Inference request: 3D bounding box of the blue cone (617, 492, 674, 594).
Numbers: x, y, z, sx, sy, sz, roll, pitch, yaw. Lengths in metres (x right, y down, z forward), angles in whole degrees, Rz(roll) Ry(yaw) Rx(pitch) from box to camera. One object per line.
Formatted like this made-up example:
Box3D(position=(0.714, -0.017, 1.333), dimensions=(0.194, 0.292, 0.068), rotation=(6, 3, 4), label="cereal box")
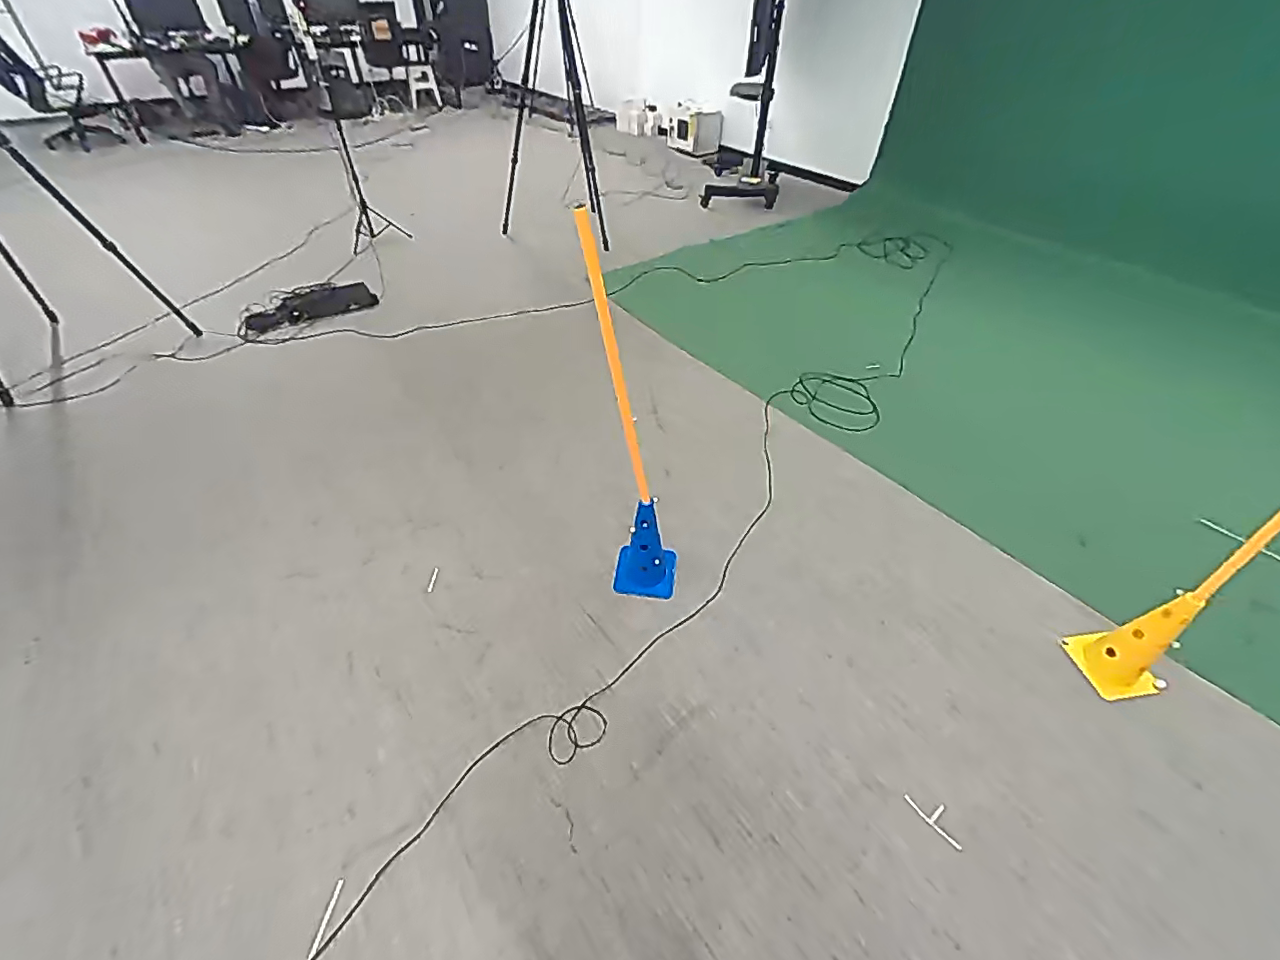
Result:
Box3D(position=(0.017, 0.187, 1.713), dimensions=(0.193, 0.380, 0.192), rotation=(4, 45, 5), label="blue cone")
